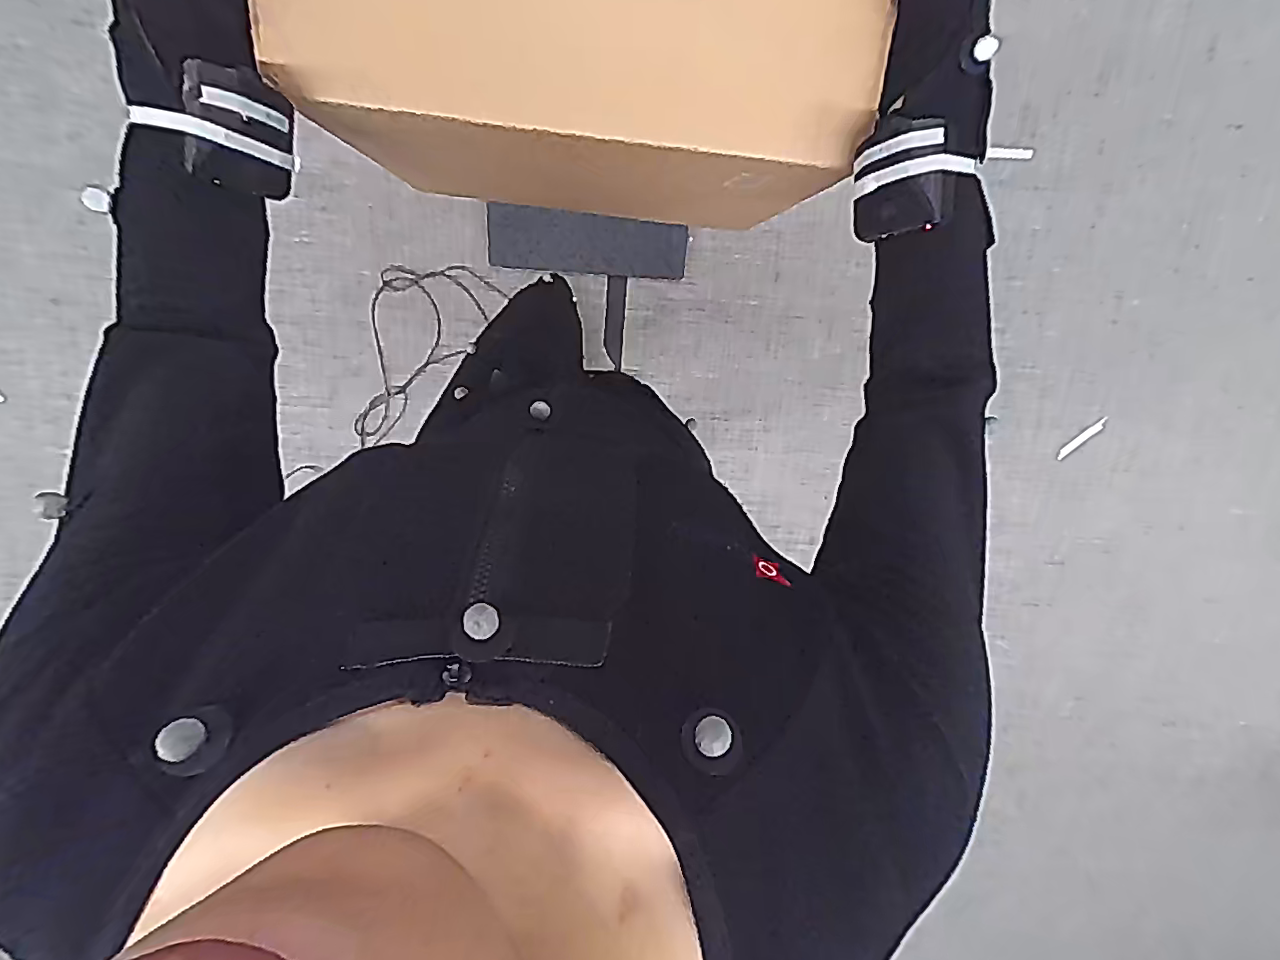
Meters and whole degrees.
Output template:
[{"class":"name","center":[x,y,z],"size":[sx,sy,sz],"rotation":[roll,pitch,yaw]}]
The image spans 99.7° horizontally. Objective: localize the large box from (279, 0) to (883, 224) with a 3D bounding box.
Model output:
[{"class":"large box","center":[-0.039,-0.434,0.477],"size":[0.408,0.320,0.320],"rotation":[3,107,-6]}]

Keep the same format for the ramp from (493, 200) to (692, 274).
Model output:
[{"class":"ramp","center":[-0.091,-0.996,1.180],"size":[0.509,0.206,0.991],"rotation":[1,103,-3]}]
